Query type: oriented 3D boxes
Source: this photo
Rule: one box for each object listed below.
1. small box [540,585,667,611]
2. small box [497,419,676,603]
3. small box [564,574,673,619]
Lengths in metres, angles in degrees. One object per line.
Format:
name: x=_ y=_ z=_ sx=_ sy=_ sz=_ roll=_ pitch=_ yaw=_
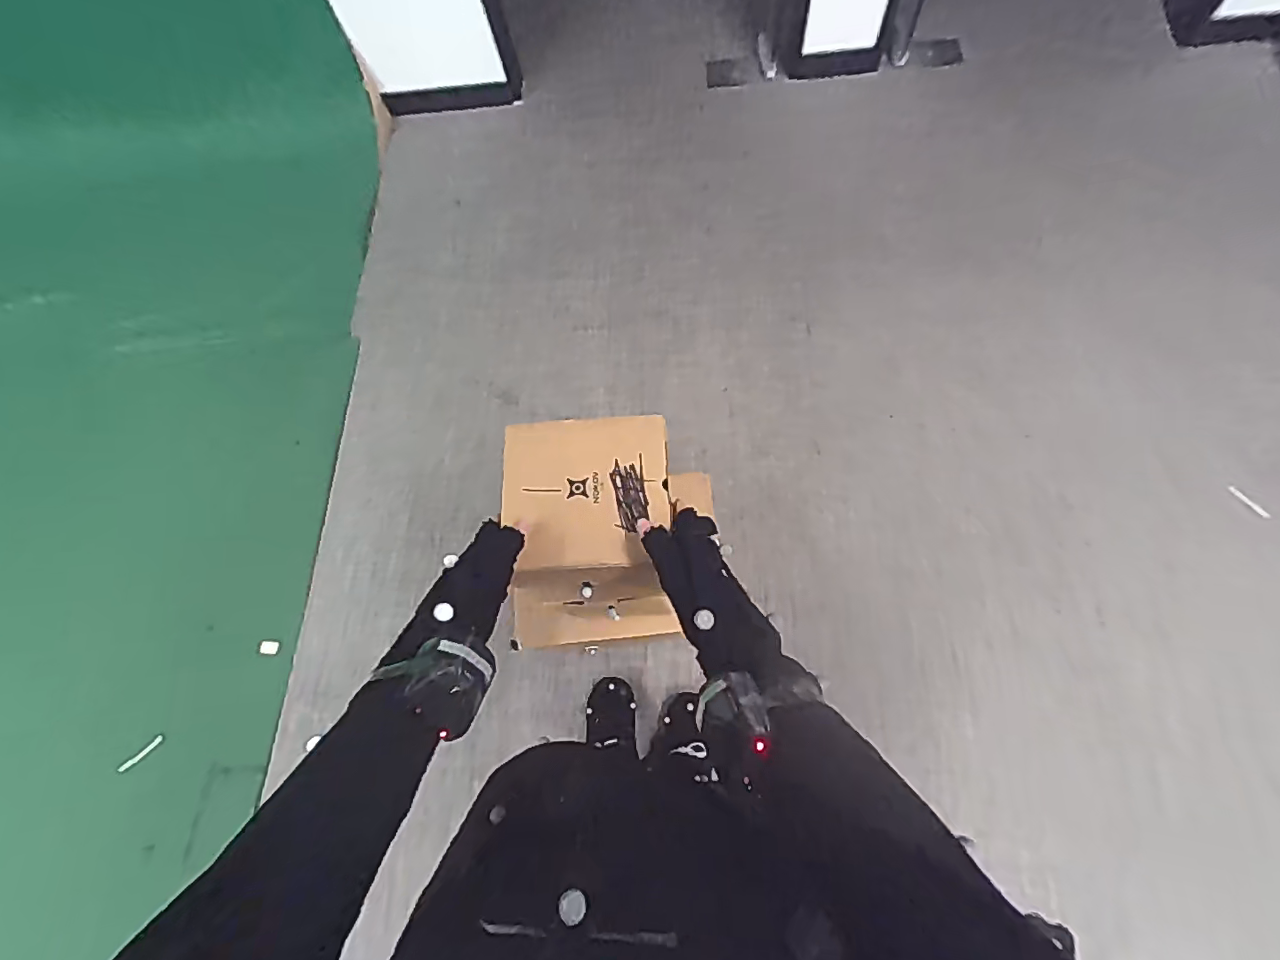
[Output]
small box: x=-0.049 y=0.104 z=0.814 sx=0.168 sy=0.176 sz=0.179 roll=-5 pitch=73 yaw=5
small box: x=-0.054 y=0.044 z=0.628 sx=0.179 sy=0.176 sz=0.168 roll=-4 pitch=67 yaw=1
small box: x=-0.034 y=0.158 z=0.968 sx=0.179 sy=0.176 sz=0.168 roll=-4 pitch=73 yaw=3
